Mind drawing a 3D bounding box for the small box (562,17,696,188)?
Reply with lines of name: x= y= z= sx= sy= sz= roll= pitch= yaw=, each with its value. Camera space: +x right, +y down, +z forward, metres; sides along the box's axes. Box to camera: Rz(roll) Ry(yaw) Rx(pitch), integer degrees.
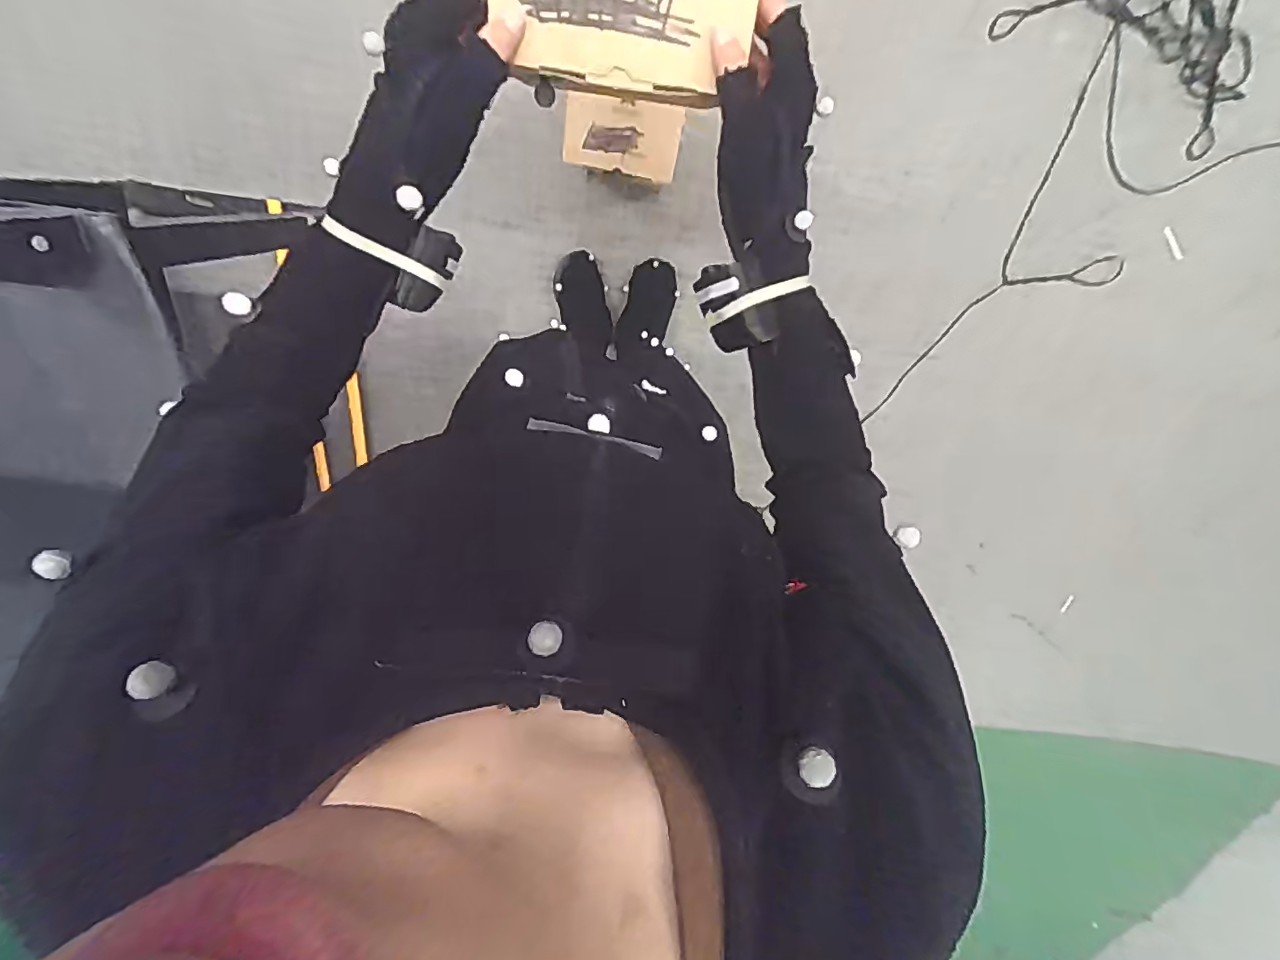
small box: x=-0.018 y=-0.559 z=0.828 sx=0.168 sy=0.176 sz=0.179 roll=9 pitch=117 yaw=-5
